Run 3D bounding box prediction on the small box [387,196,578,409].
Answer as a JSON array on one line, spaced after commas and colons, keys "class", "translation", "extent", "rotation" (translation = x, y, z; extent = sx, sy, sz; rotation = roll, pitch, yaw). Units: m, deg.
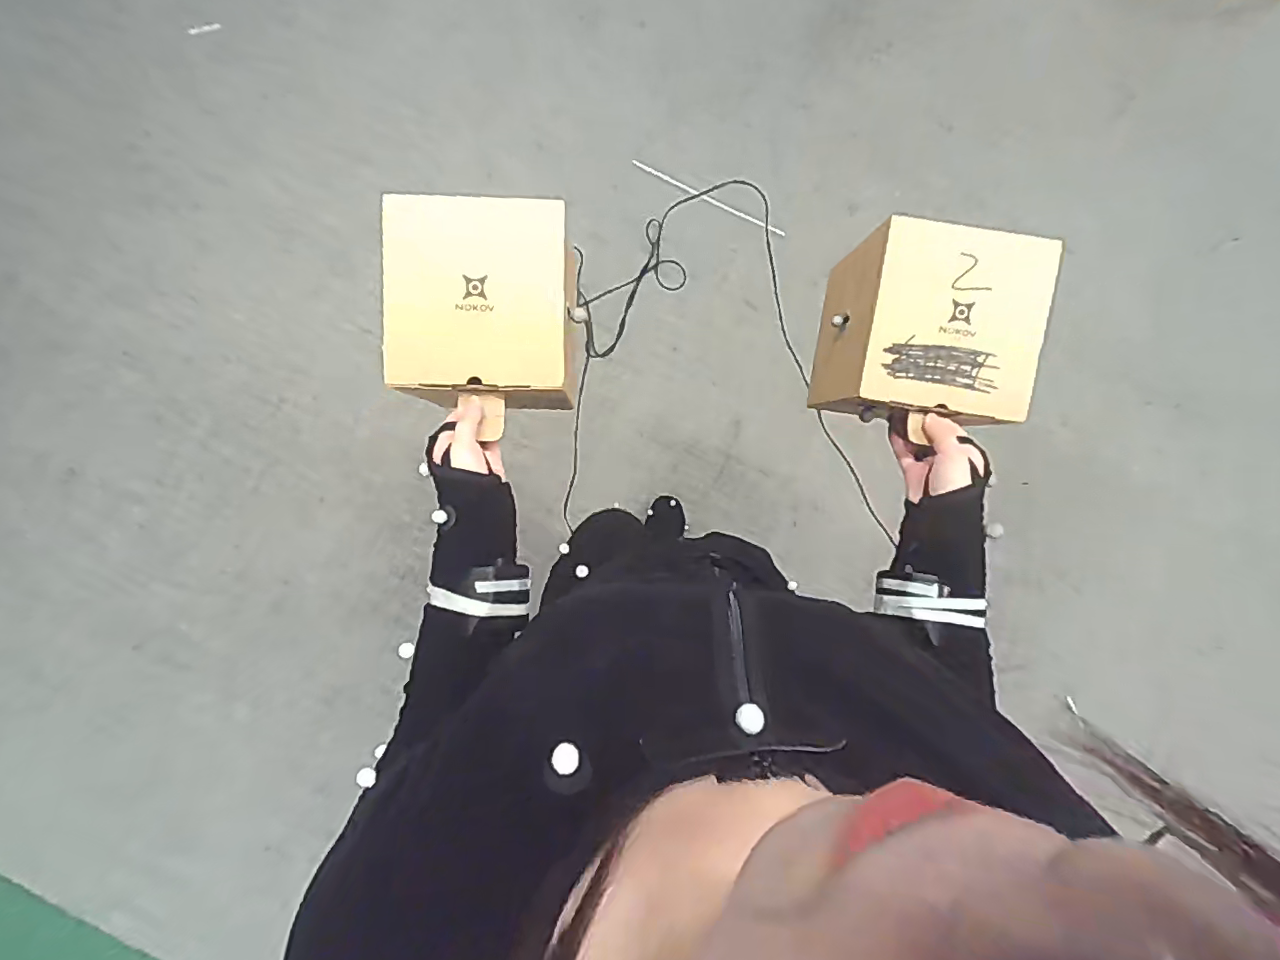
[{"class": "small box", "translation": [-0.156, -0.175, 0.583], "extent": [0.168, 0.176, 0.179], "rotation": [1, 92, -3]}]
